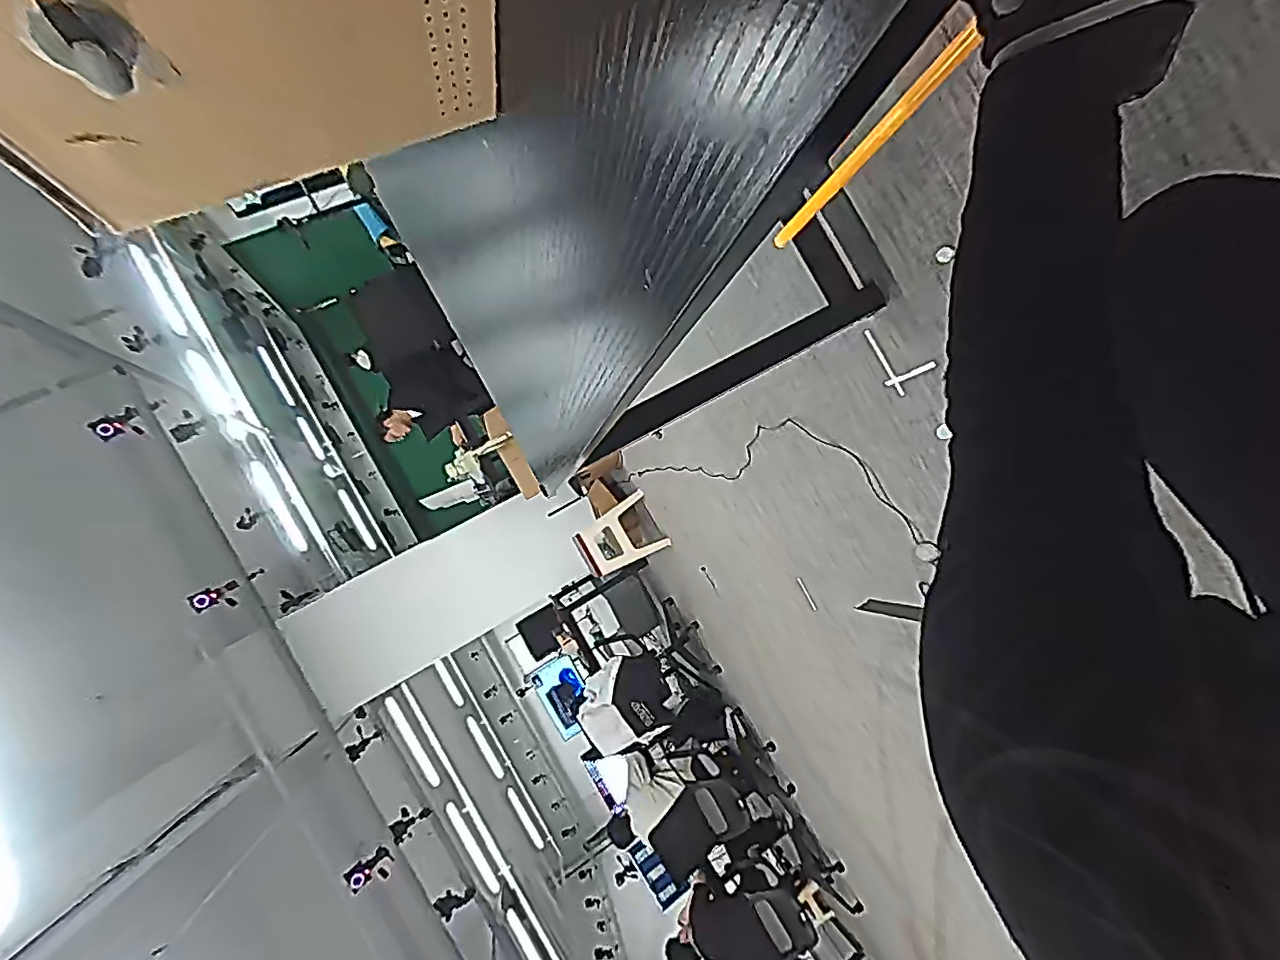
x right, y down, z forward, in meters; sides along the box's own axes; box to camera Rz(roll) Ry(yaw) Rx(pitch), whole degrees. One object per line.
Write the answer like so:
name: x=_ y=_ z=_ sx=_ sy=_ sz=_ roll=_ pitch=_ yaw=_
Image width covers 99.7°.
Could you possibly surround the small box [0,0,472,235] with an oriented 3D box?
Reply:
small box: x=-0.159 y=-0.210 z=0.150 sx=0.168 sy=0.176 sz=0.179 roll=62 pitch=165 yaw=-2
